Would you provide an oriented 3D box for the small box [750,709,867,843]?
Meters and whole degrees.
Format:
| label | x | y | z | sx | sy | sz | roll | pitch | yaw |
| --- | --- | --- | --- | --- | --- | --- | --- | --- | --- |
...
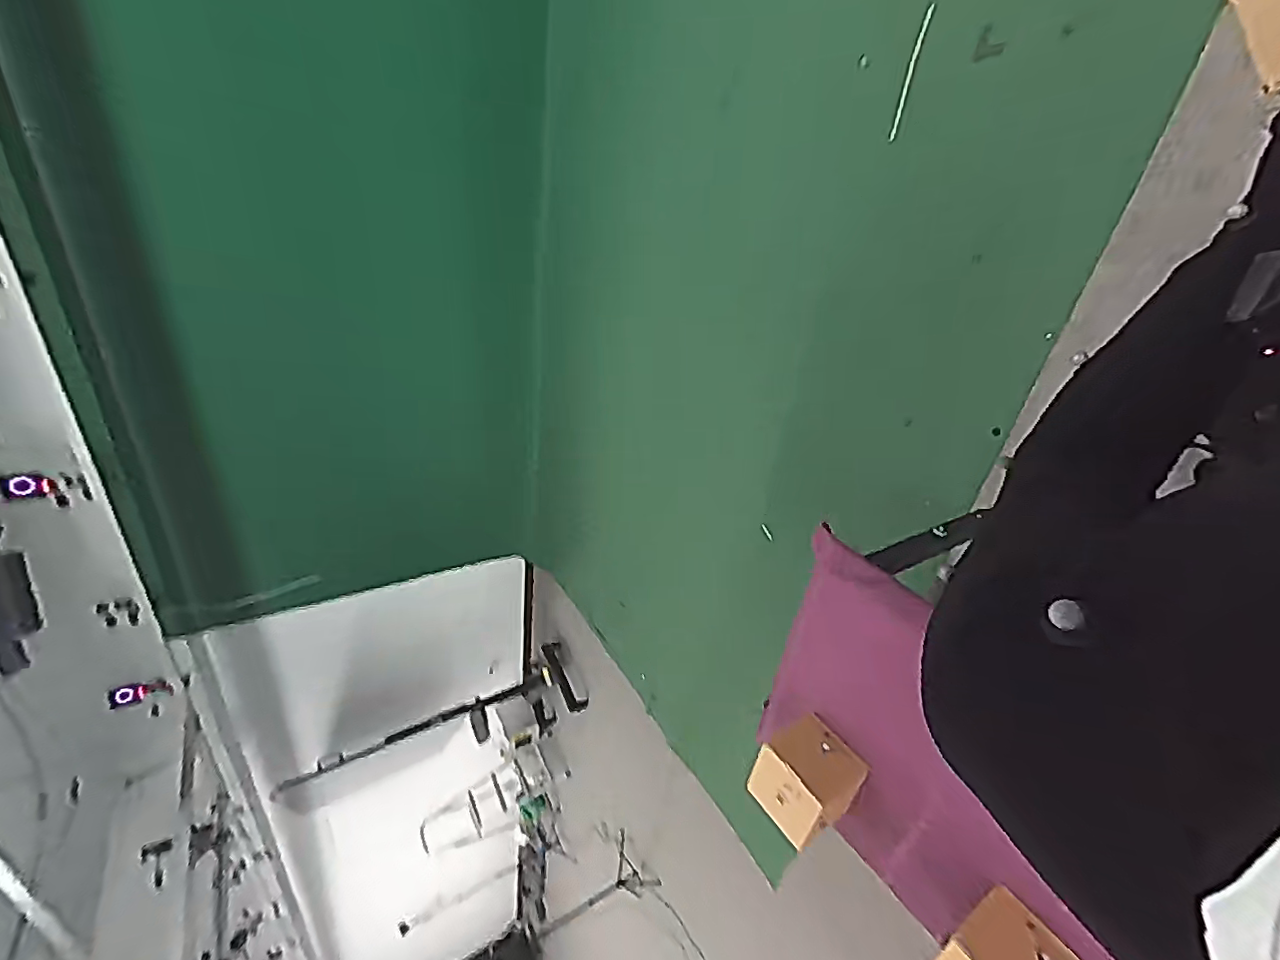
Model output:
| label | x | y | z | sx | sy | sz | roll | pitch | yaw |
| --- | --- | --- | --- | --- | --- | --- | --- | --- | --- |
| small box | 0.383 | 0.665 | 1.230 | 0.168 | 0.176 | 0.179 | 39 | 131 | 42 |

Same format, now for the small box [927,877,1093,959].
| label | x | y | z | sx | sy | sz | roll | pitch | yaw |
| --- | --- | --- | --- | --- | --- | --- | --- | --- | --- |
| small box | 0.626 | 0.839 | 0.922 | 0.168 | 0.176 | 0.179 | 40 | 131 | 44 |
